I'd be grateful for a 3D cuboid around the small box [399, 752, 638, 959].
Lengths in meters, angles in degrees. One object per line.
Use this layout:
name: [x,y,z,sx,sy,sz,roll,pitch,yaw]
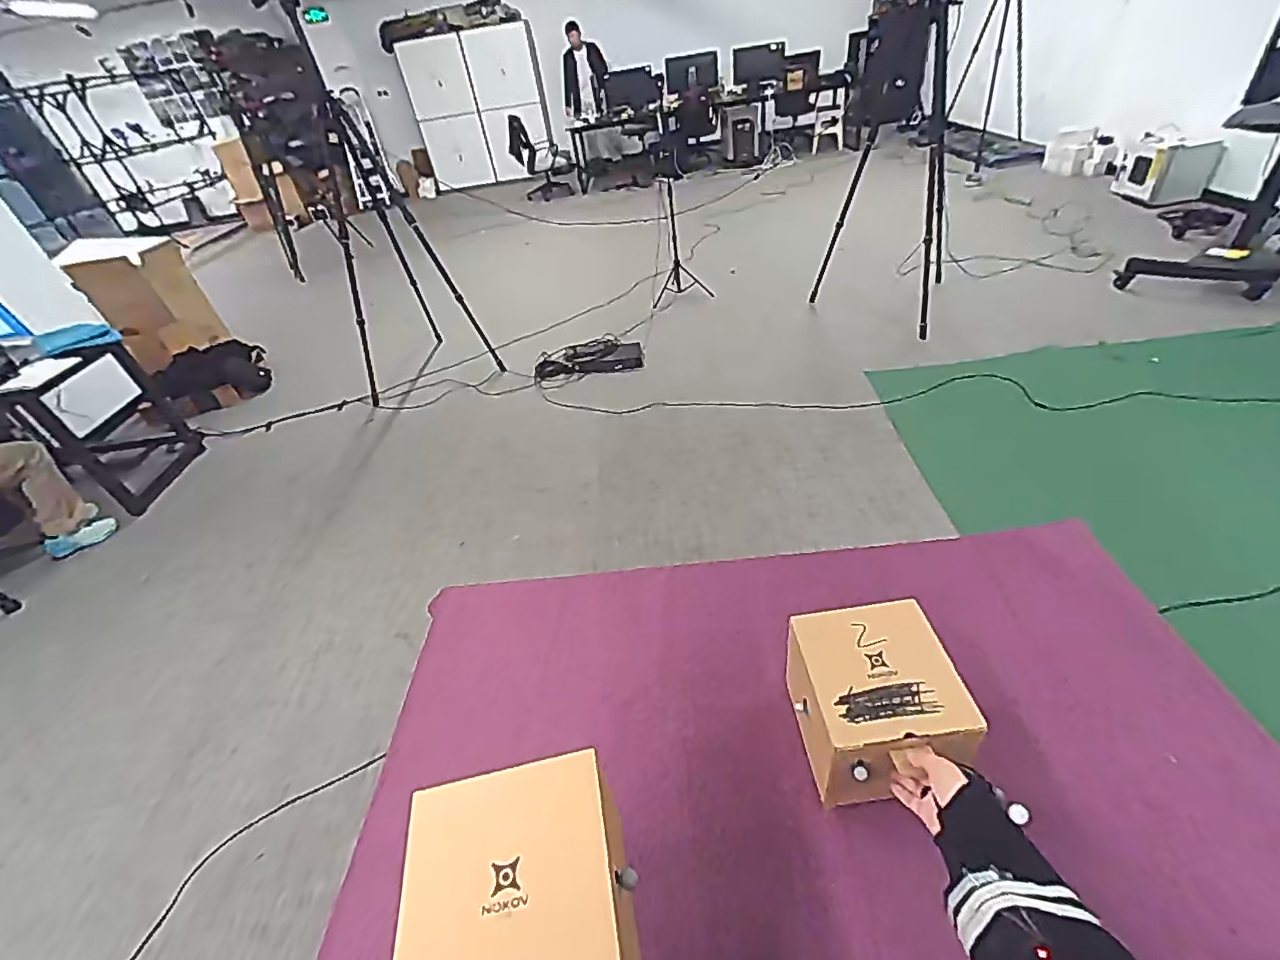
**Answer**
small box: [-0.097,0.383,0.485,0.168,0.176,0.179,-12,41,-4]
